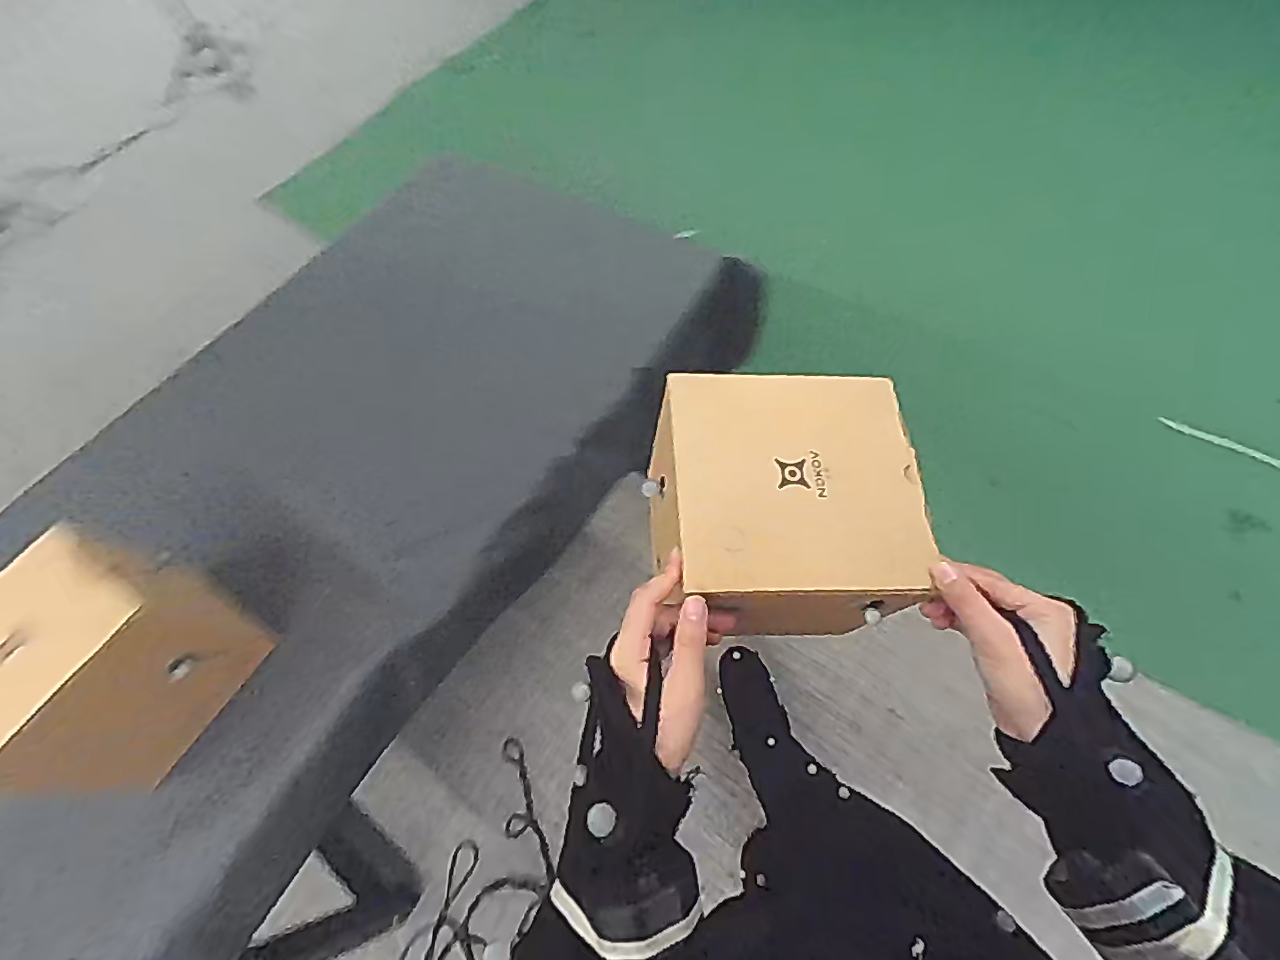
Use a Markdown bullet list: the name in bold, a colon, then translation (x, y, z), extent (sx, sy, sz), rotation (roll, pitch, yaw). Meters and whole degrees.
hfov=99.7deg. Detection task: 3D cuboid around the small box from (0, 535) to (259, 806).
- **small box**: translation (-0.532, 0.189, 0.542), extent (0.168, 0.176, 0.179), rotation (25, 69, 21)
